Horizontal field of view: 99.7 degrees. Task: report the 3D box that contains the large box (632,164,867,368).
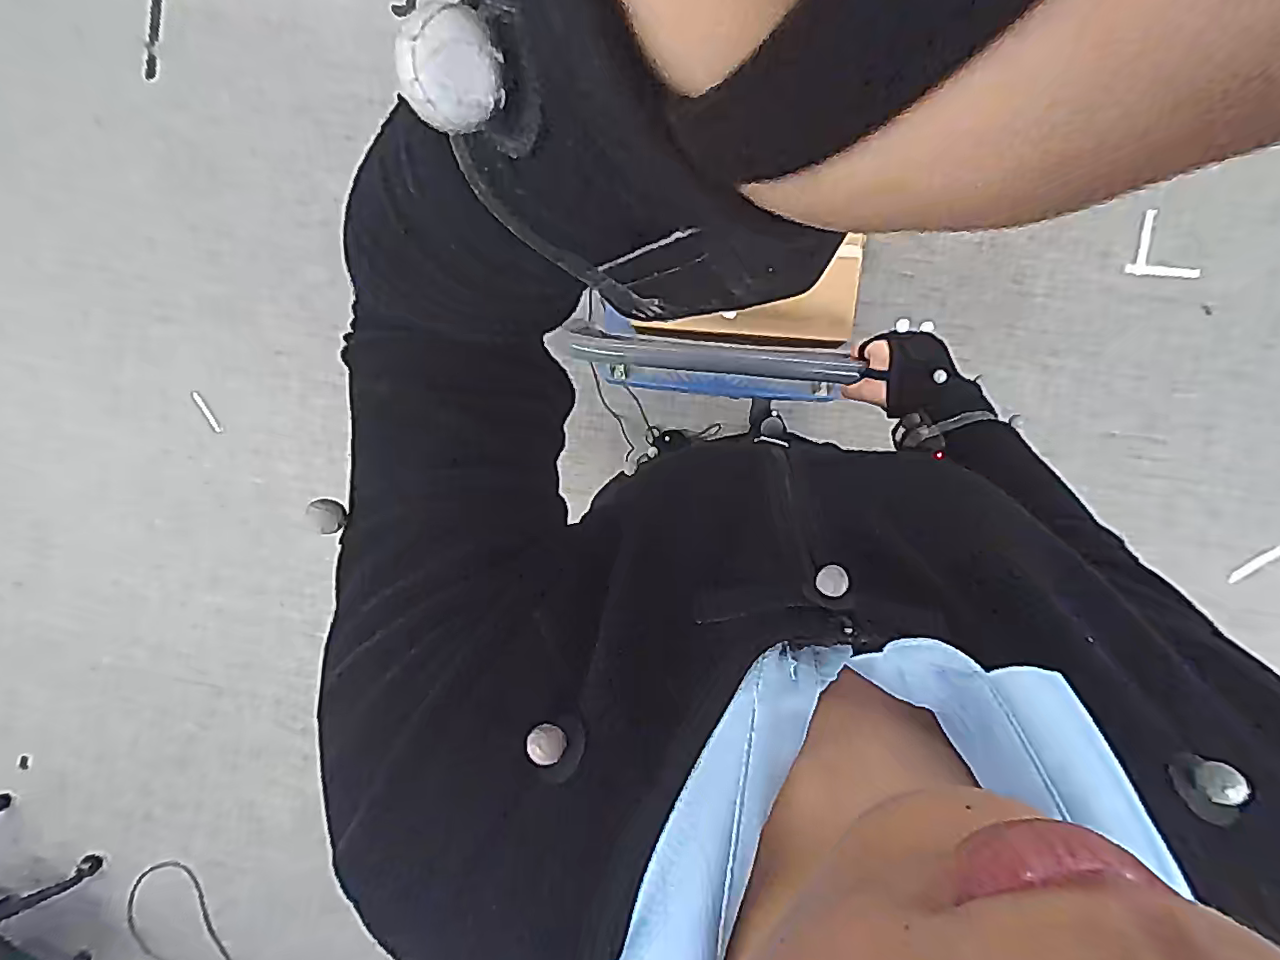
[{"bbox_3d":[0.201,-0.416,1.122,0.408,0.320,0.320,5,96,4],"label":"large box"}]
